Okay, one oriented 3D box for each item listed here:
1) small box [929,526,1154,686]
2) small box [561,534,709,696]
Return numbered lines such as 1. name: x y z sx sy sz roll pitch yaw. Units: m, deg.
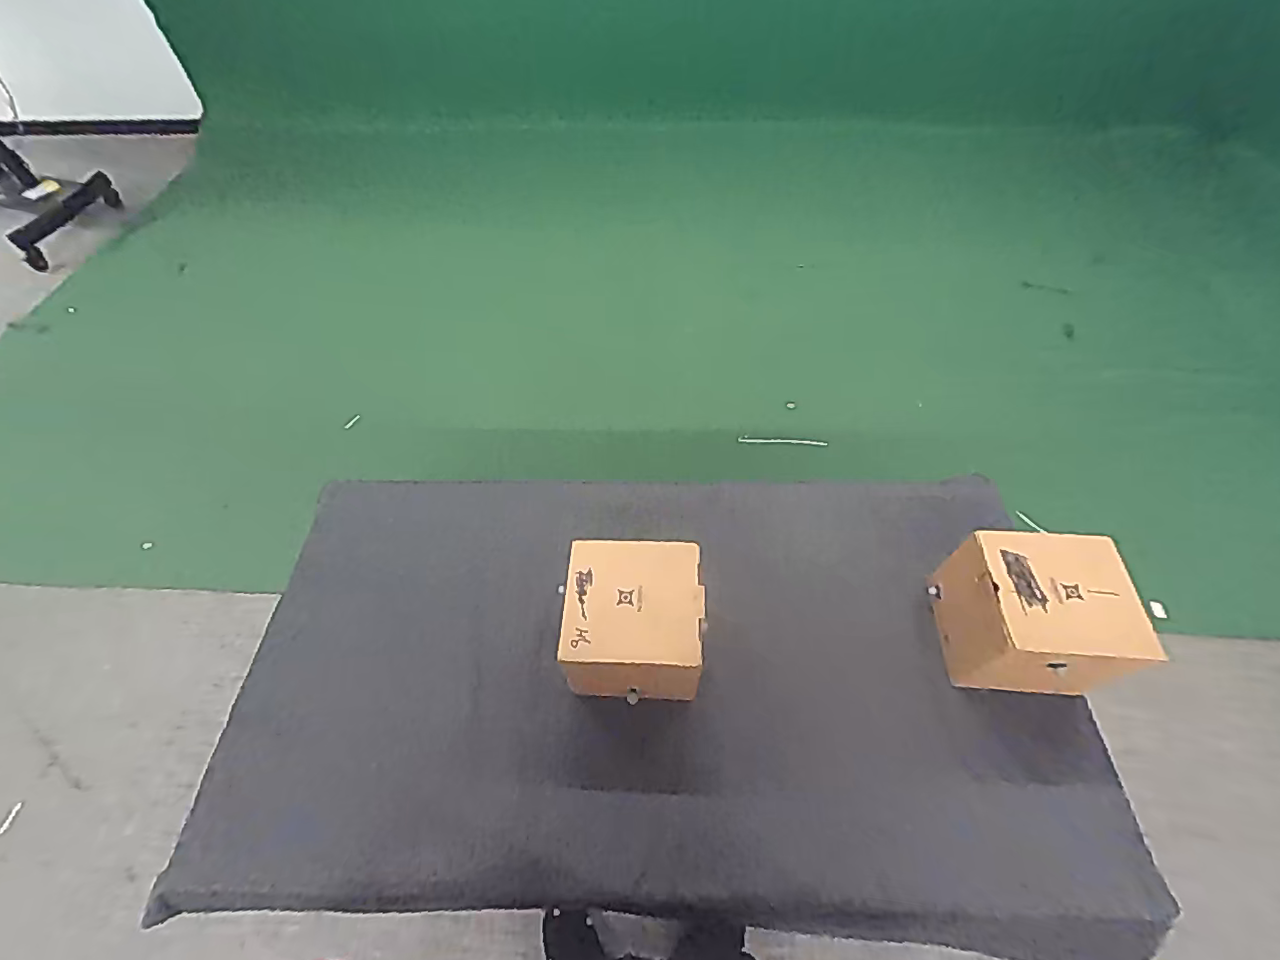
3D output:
1. small box: 0.533 0.181 0.757 0.179 0.176 0.168 4 55 1
2. small box: -0.006 0.189 0.741 0.179 0.176 0.168 3 55 0
